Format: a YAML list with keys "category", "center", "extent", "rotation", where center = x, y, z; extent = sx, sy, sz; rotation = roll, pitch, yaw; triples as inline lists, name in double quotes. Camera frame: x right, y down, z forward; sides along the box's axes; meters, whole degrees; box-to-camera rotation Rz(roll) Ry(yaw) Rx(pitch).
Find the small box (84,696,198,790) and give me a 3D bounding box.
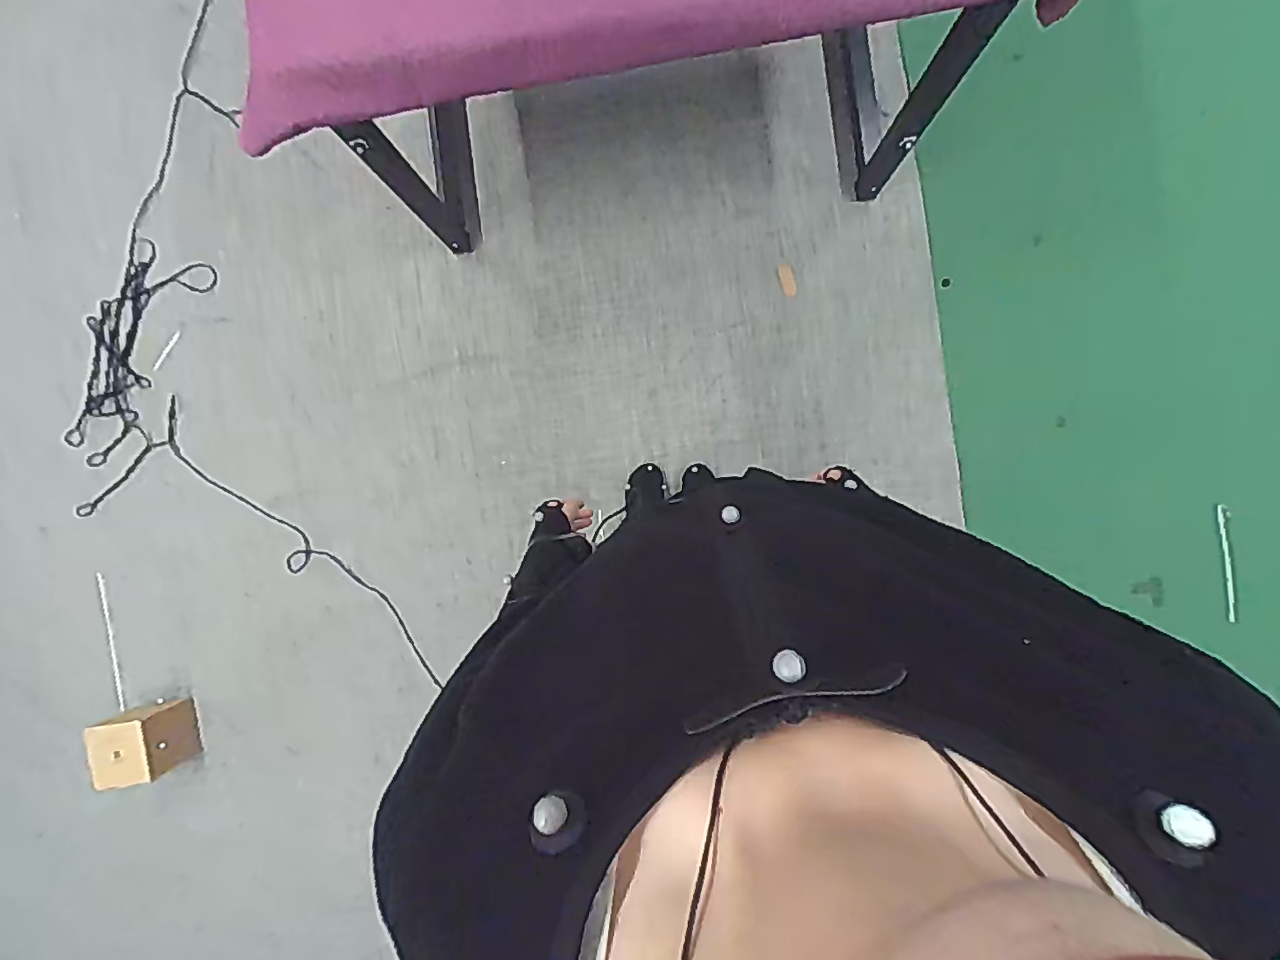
- category: "small box"
  center: [-1.402, 0.740, 1.532]
  extent: [0.168, 0.176, 0.179]
  rotation: [-9, 90, 3]
